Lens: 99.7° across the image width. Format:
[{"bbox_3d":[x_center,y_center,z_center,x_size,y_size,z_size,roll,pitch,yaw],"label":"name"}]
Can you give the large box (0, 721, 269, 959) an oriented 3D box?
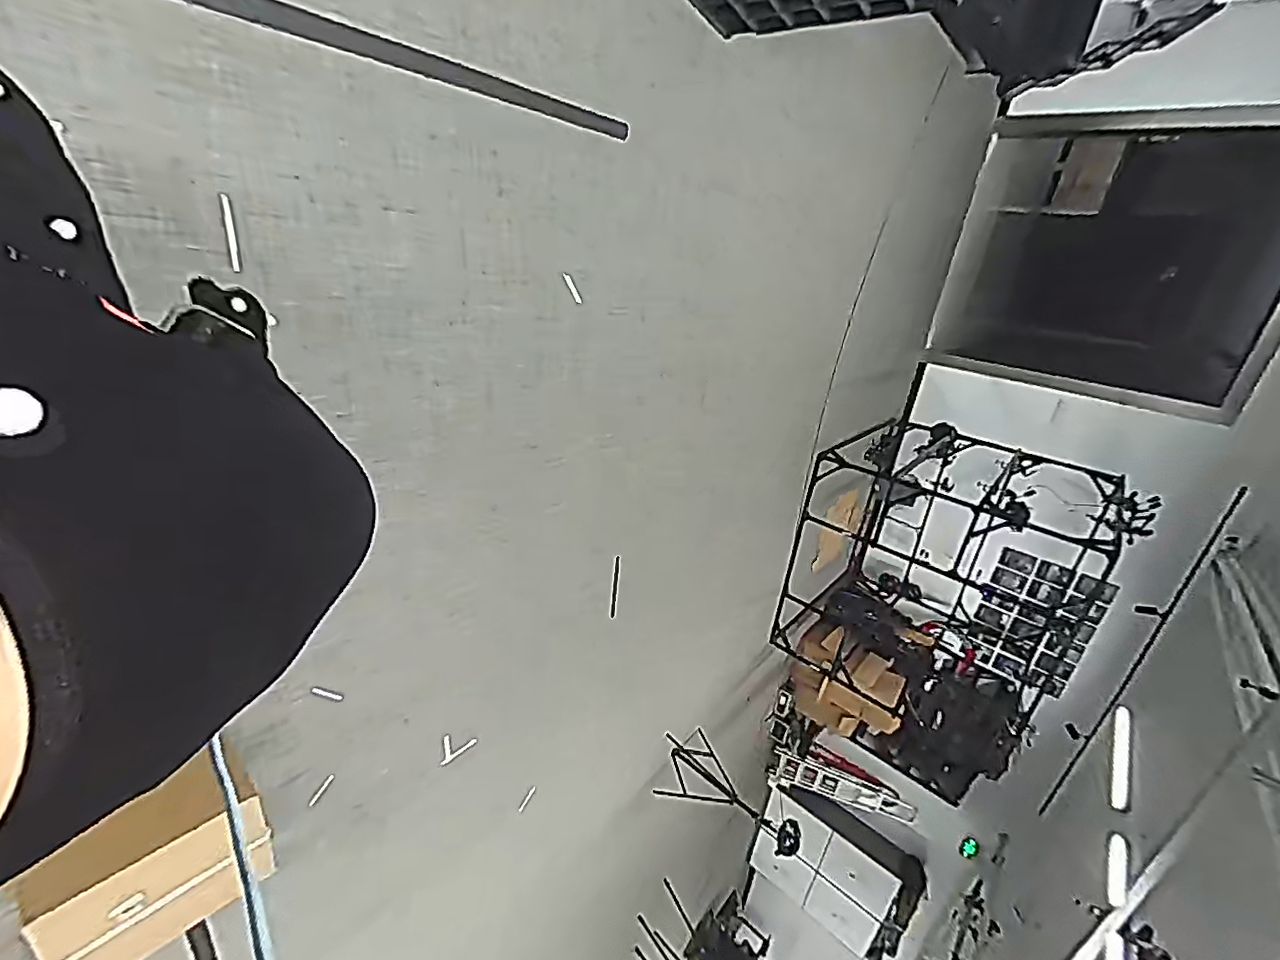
[{"bbox_3d":[-1.215,0.895,1.330,0.408,0.320,0.320,-19,125,-46],"label":"large box"}]
